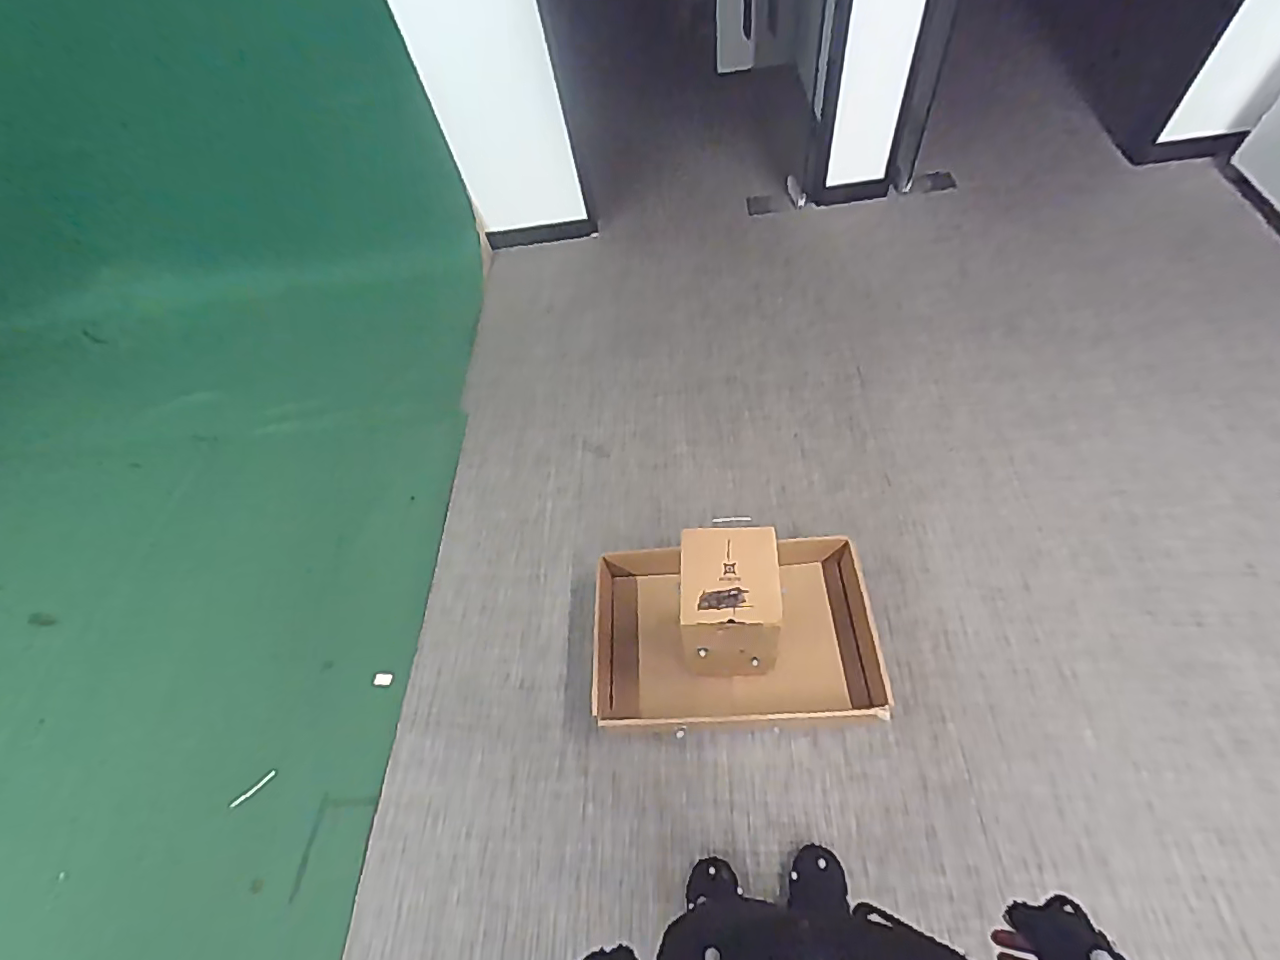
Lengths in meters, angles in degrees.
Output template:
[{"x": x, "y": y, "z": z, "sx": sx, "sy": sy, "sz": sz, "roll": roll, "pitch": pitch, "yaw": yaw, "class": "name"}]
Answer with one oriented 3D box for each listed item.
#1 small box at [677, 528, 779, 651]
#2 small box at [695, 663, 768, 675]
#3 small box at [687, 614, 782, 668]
[{"x": 0.158, "y": 0.202, "z": 0.978, "sx": 0.168, "sy": 0.176, "sz": 0.179, "roll": -1, "pitch": 56, "yaw": 8, "class": "small box"}, {"x": 0.205, "y": 0.351, "z": 1.269, "sx": 0.179, "sy": 0.176, "sz": 0.168, "roll": -6, "pitch": 56, "yaw": 5, "class": "small box"}, {"x": 0.183, "y": 0.279, "z": 1.103, "sx": 0.179, "sy": 0.176, "sz": 0.168, "roll": -5, "pitch": 57, "yaw": 6, "class": "small box"}]
